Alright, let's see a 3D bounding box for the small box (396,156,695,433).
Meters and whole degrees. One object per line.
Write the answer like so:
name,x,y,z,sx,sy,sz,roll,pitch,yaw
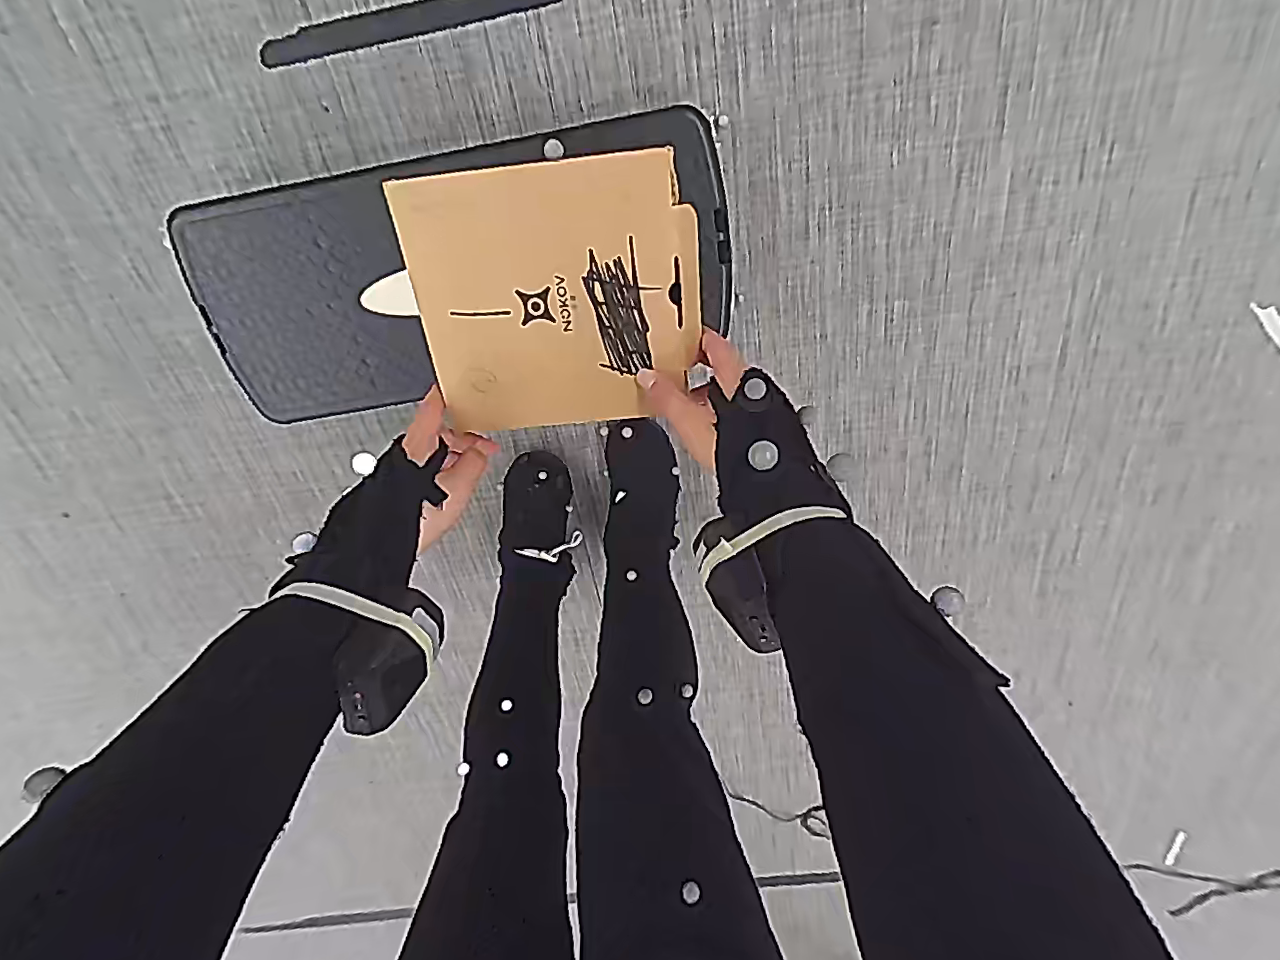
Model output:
small box,-0.054,-0.150,0.426,0.179,0.176,0.168,-5,117,3
